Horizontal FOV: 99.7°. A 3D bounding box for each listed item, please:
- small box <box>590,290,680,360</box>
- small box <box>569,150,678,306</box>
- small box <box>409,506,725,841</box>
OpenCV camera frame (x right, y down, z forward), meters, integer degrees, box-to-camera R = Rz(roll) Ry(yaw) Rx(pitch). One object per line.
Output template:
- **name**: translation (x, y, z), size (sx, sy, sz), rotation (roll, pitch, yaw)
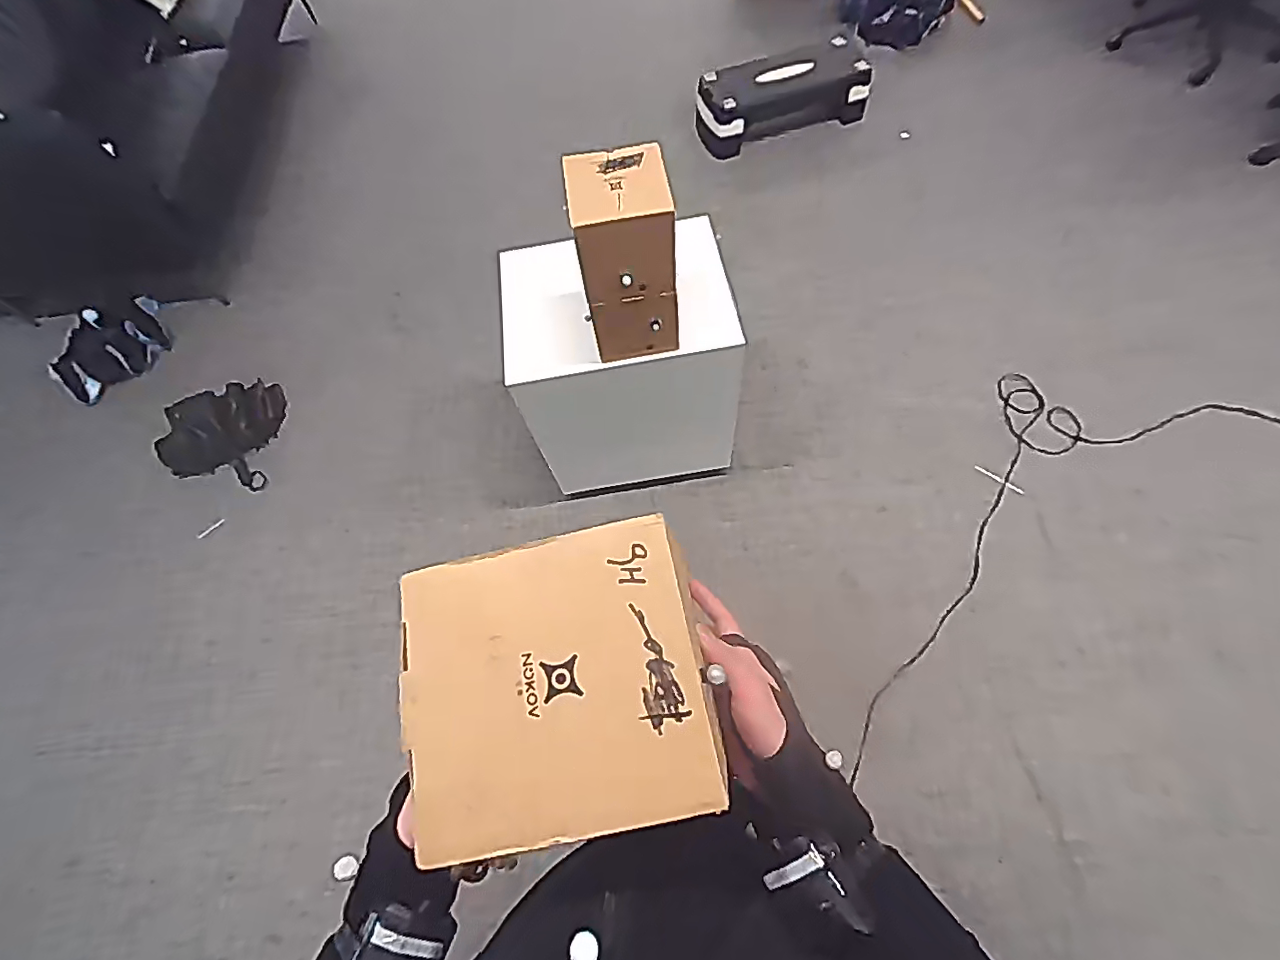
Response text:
- **small box**: translation (-0.013, -0.362, 1.096), size (0.168, 0.176, 0.179), rotation (-9, 62, 0)
- **small box**: translation (-0.026, -0.438, 0.951), size (0.168, 0.176, 0.179), rotation (-9, 64, 1)
- **small box**: translation (-0.041, 0.134, 0.394), size (0.179, 0.176, 0.168), rotation (-13, 71, 5)
